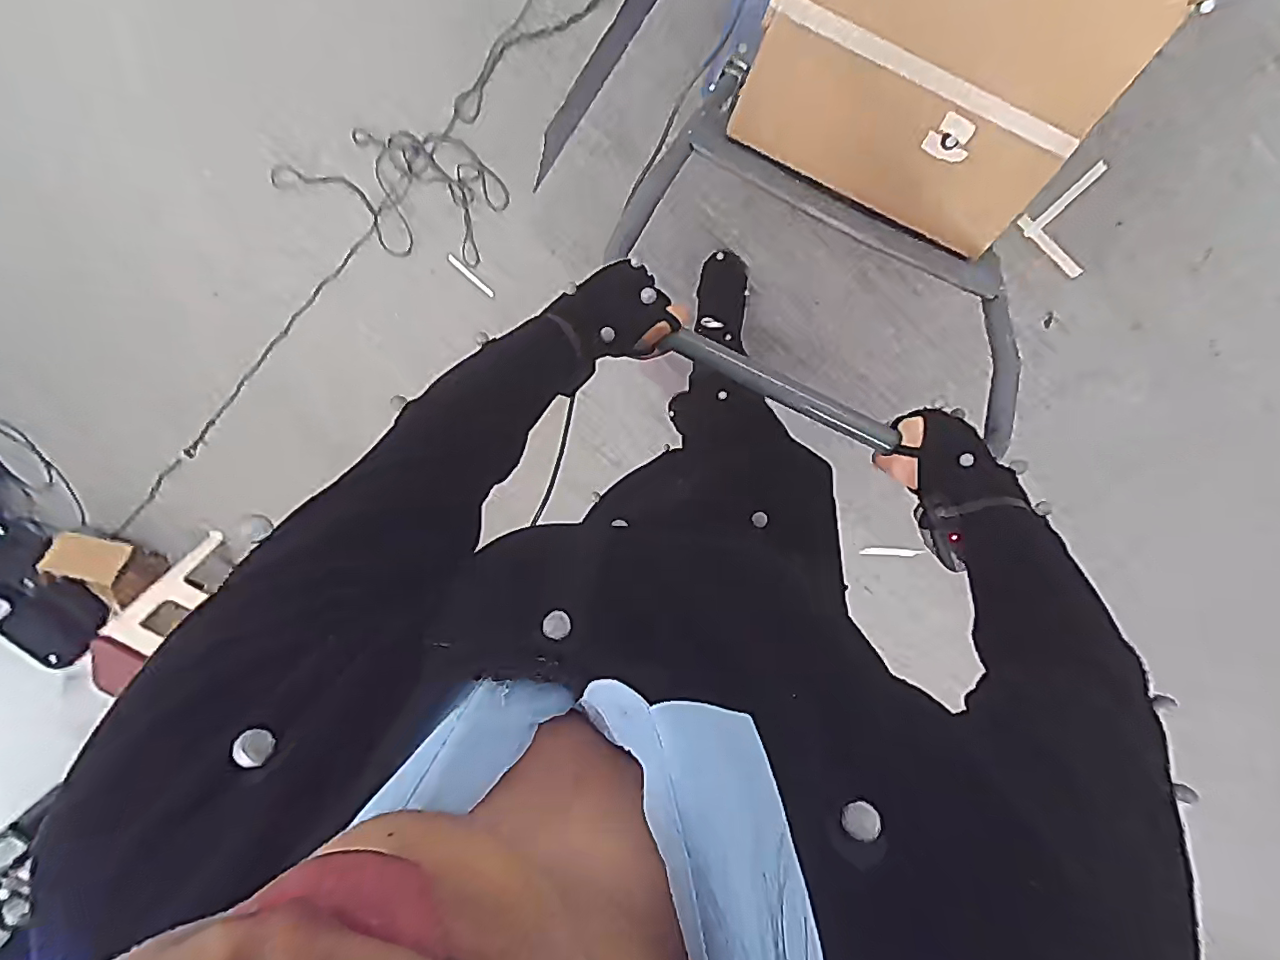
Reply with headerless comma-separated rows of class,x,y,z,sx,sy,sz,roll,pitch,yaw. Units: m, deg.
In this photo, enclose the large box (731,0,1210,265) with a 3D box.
large box,0.388,-0.575,0.744,0.408,0.320,0.320,25,139,-4
